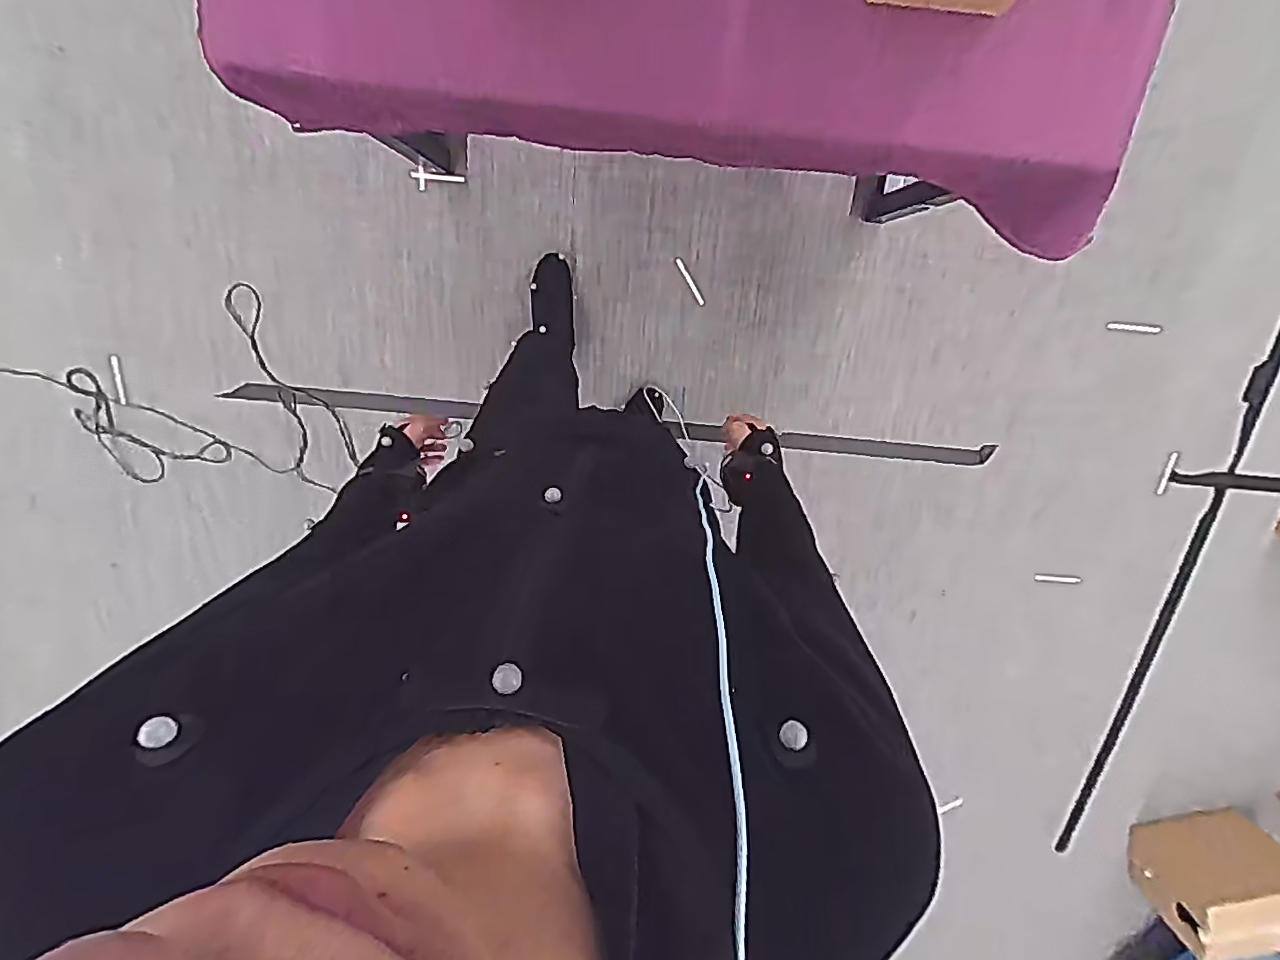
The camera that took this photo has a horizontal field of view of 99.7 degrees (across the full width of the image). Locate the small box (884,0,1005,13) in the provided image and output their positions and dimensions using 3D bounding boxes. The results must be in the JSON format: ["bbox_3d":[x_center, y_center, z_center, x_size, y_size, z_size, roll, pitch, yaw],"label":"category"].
[{"bbox_3d":[0.378,-0.647,0.583,0.179,0.176,0.168,4,108,-3],"label":"small box"}]
